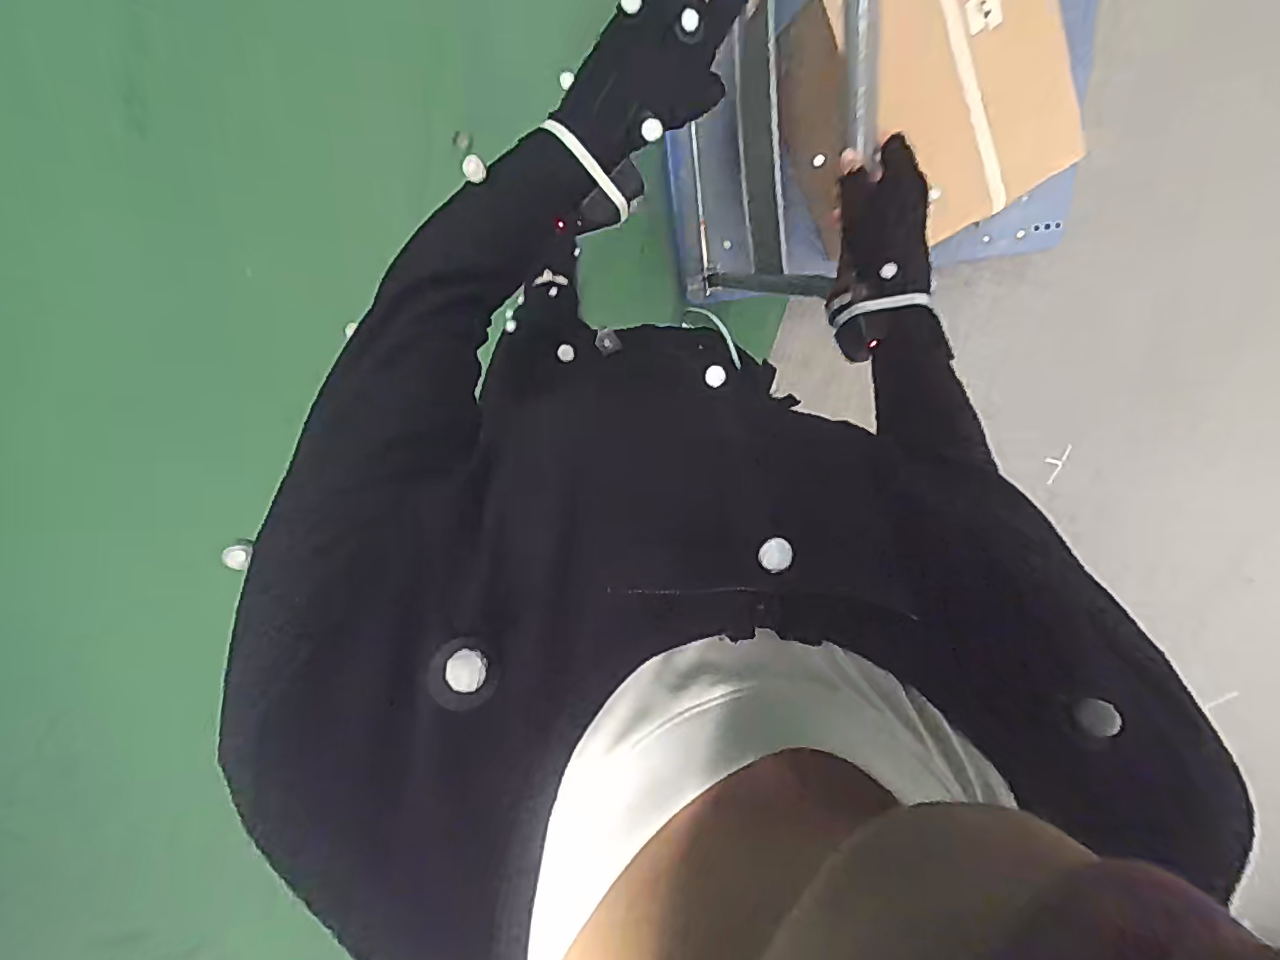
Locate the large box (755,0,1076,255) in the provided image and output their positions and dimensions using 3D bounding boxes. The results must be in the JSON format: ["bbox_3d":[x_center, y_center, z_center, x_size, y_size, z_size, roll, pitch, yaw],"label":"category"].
[{"bbox_3d":[0.457,-0.666,0.955,0.320,0.320,0.408,-30,110,6],"label":"large box"}]
